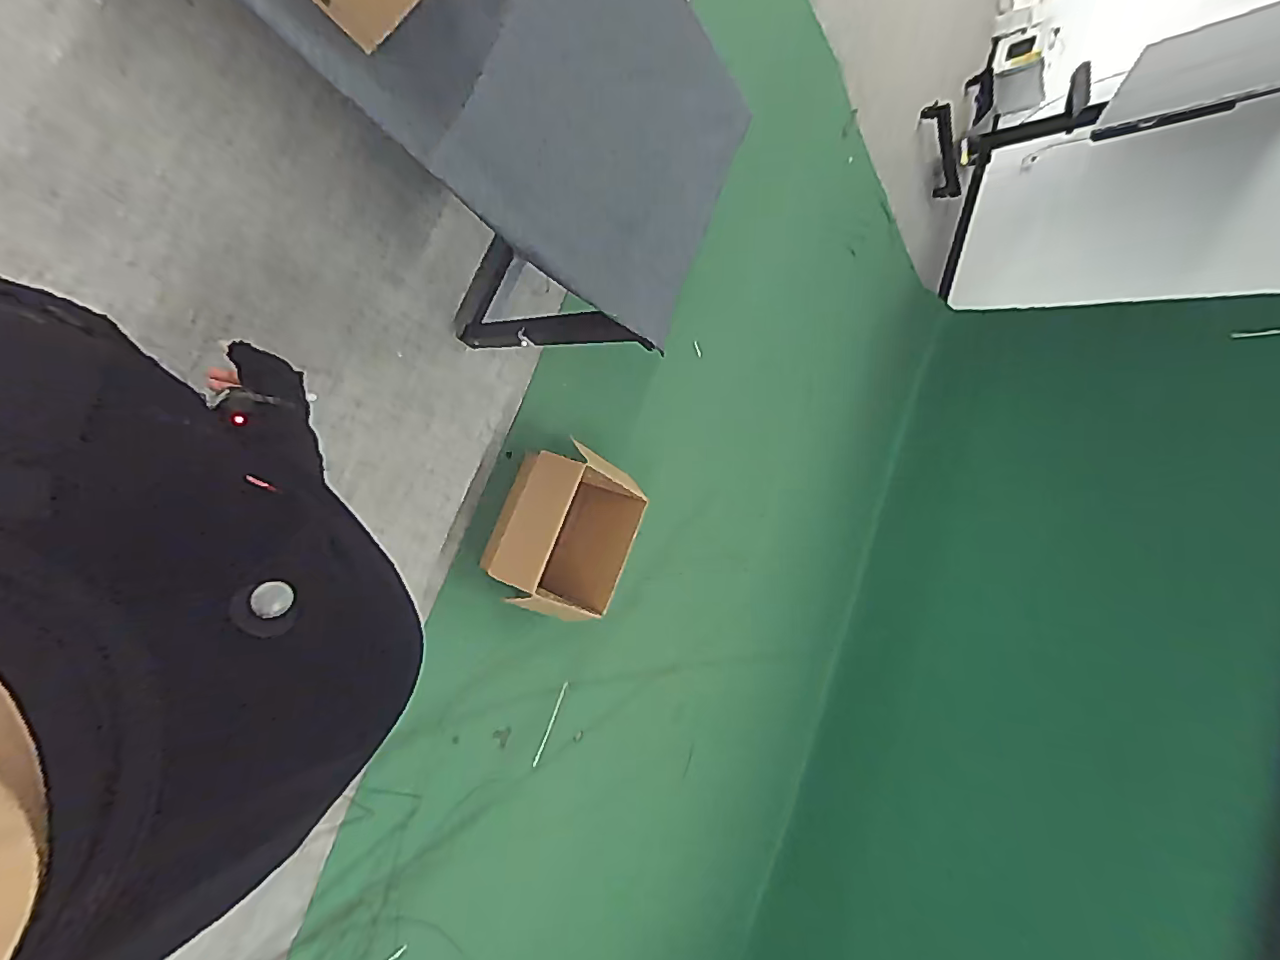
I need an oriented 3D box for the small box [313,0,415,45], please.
[{"bbox_3d":[-0.296,-0.623,0.568,0.168,0.176,0.179,33,73,-45],"label":"small box"}]
